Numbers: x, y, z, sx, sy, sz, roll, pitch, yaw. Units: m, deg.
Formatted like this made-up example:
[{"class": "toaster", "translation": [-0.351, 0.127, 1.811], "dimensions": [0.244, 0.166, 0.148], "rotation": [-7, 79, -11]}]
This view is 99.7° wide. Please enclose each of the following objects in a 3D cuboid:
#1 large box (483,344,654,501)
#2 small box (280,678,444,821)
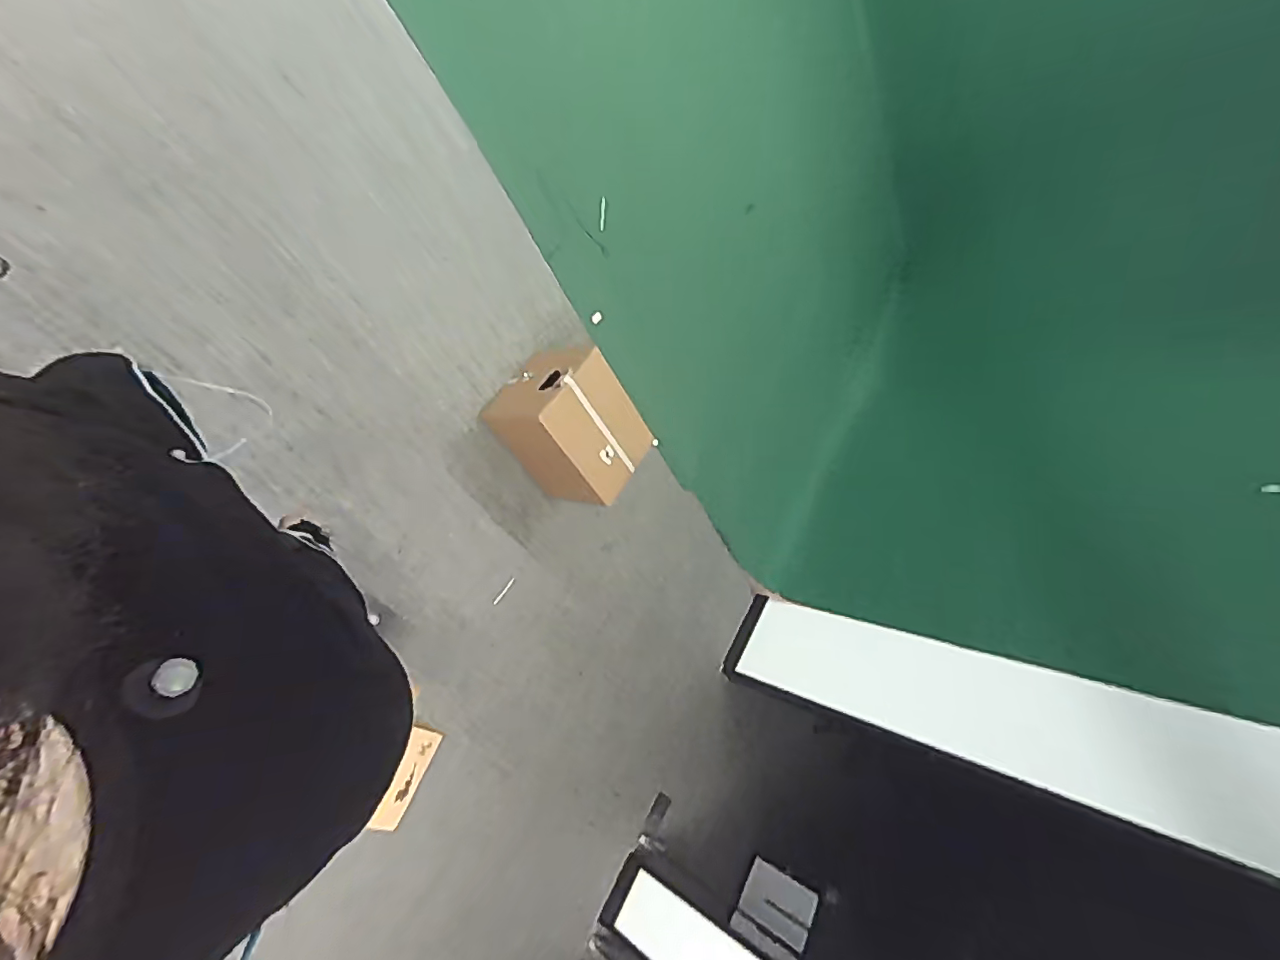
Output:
[{"class": "large box", "translation": [-0.226, -0.185, 1.775], "dimensions": [0.320, 0.320, 0.408], "rotation": [-56, 132, -26]}, {"class": "small box", "translation": [-0.501, 0.476, 0.971], "dimensions": [0.179, 0.176, 0.168], "rotation": [45, 62, -40]}]
